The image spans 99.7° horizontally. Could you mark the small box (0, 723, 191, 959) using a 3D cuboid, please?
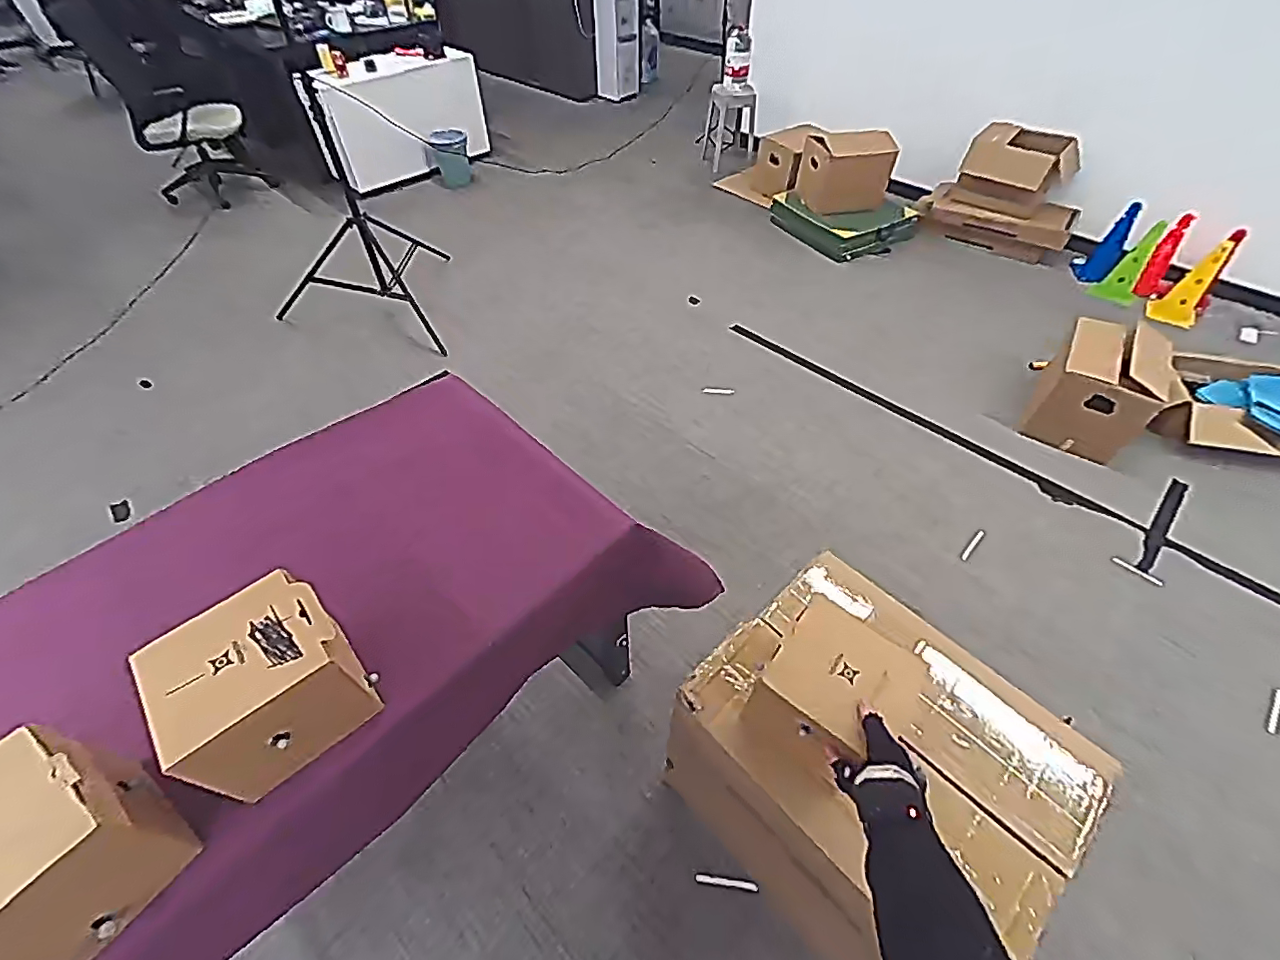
[{"bbox_3d":[-0.623,0.398,0.561,0.168,0.176,0.179,26,53,22],"label":"small box"}]

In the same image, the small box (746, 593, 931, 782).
[{"bbox_3d":[0.274,0.304,0.783,0.179,0.176,0.168,32,59,22],"label":"small box"}]

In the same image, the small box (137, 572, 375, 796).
[{"bbox_3d":[-0.464,0.257,0.683,0.179,0.176,0.168,-34,57,-25],"label":"small box"}]
